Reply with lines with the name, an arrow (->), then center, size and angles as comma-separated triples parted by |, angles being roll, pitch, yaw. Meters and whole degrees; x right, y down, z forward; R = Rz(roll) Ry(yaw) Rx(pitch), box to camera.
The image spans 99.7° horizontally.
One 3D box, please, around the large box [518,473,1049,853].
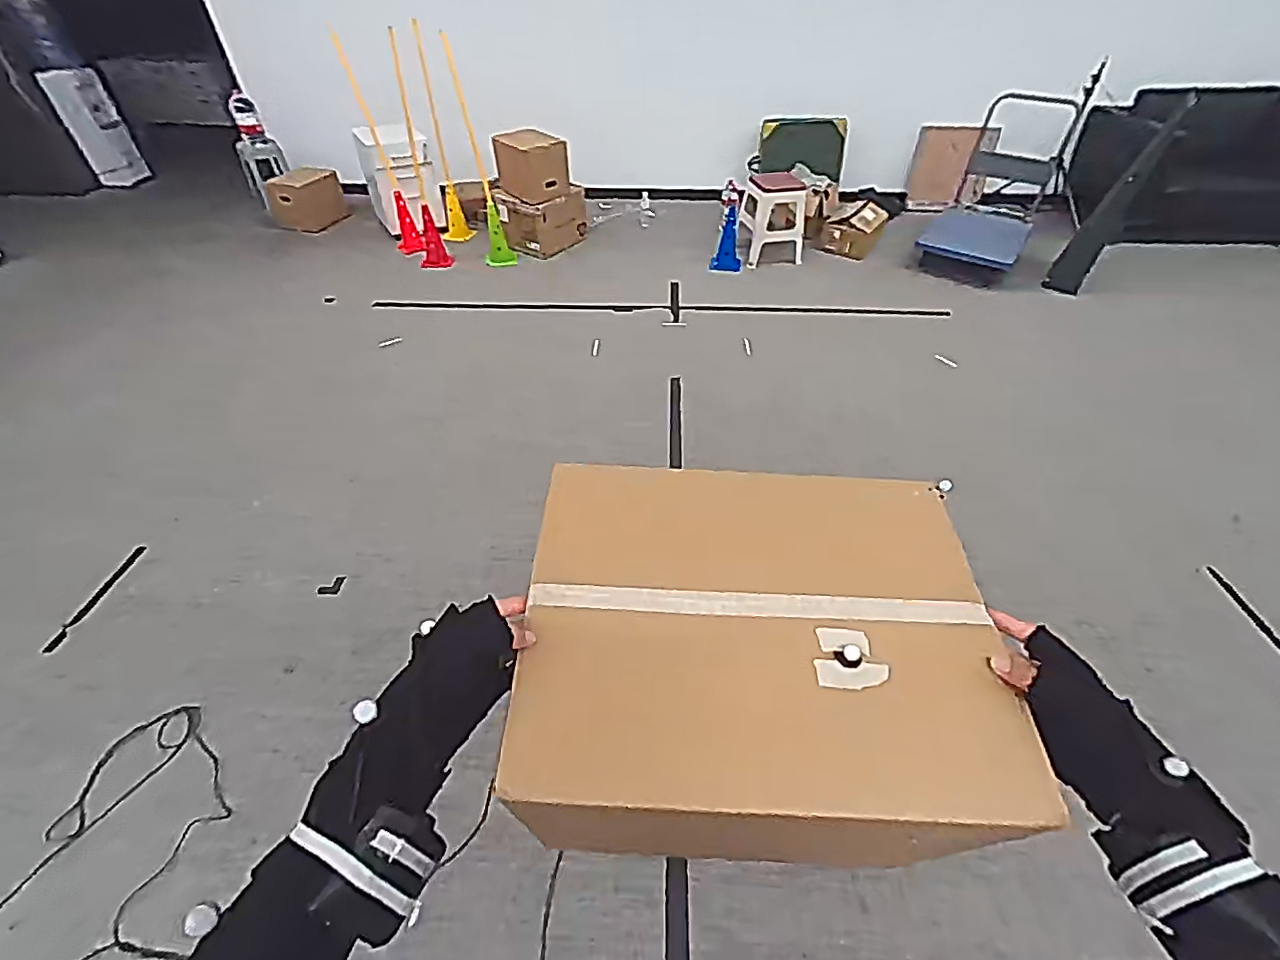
large box -> 0.104, 0.211, 0.604 | 0.408, 0.320, 0.320 | 3, 51, 0
